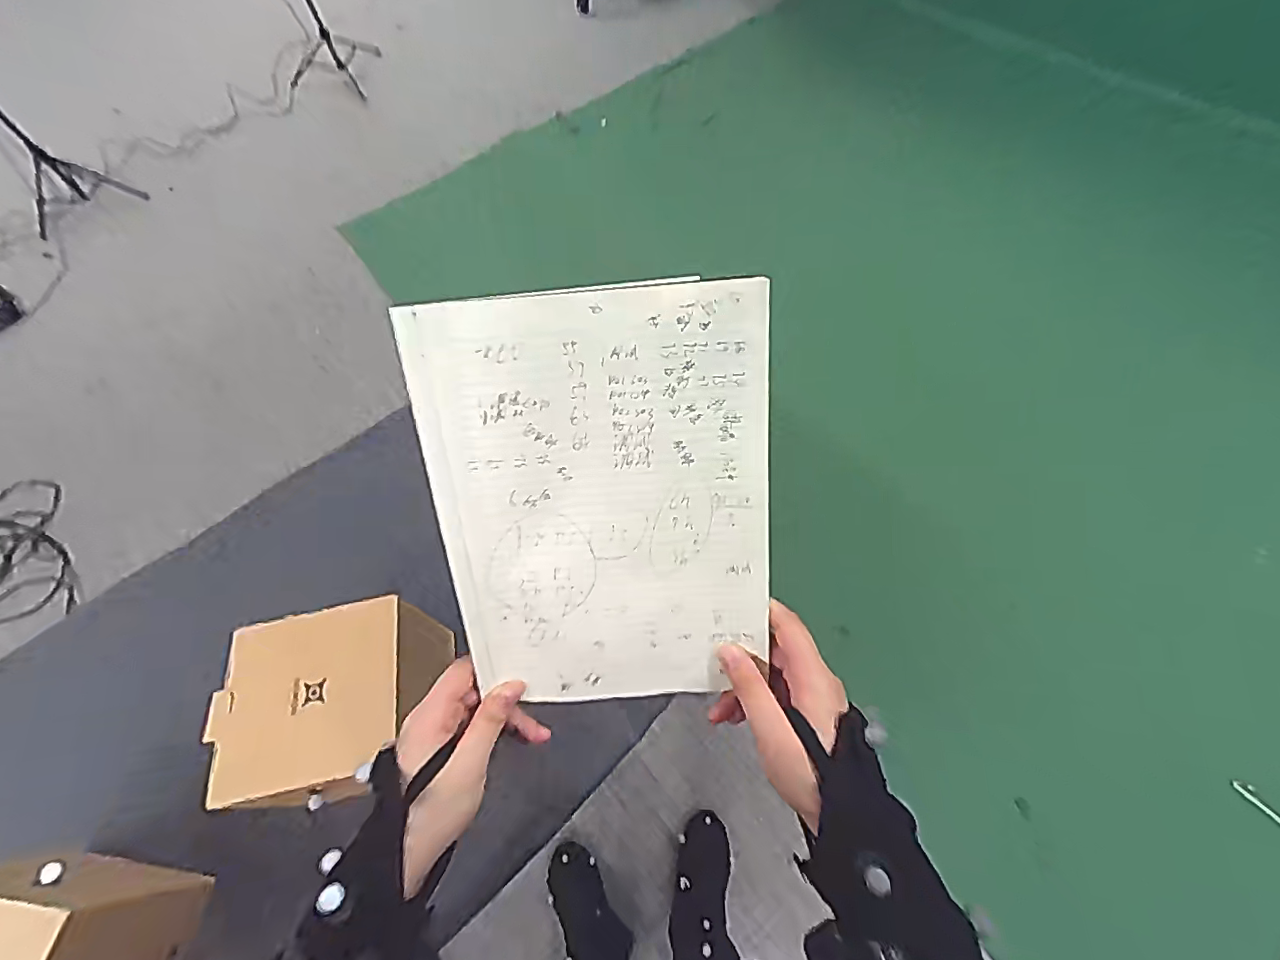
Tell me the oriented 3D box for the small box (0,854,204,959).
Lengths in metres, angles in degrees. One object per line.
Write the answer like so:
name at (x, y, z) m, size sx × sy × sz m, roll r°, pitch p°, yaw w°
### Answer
small box at (-0.564, 0.458, 0.491) m, size 0.179 × 0.176 × 0.168 m, roll 5°, pitch 62°, yaw 7°

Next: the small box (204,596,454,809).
small box at (-0.314, 0.243, 0.591) m, size 0.179 × 0.176 × 0.168 m, roll -13°, pitch 62°, yaw -2°
